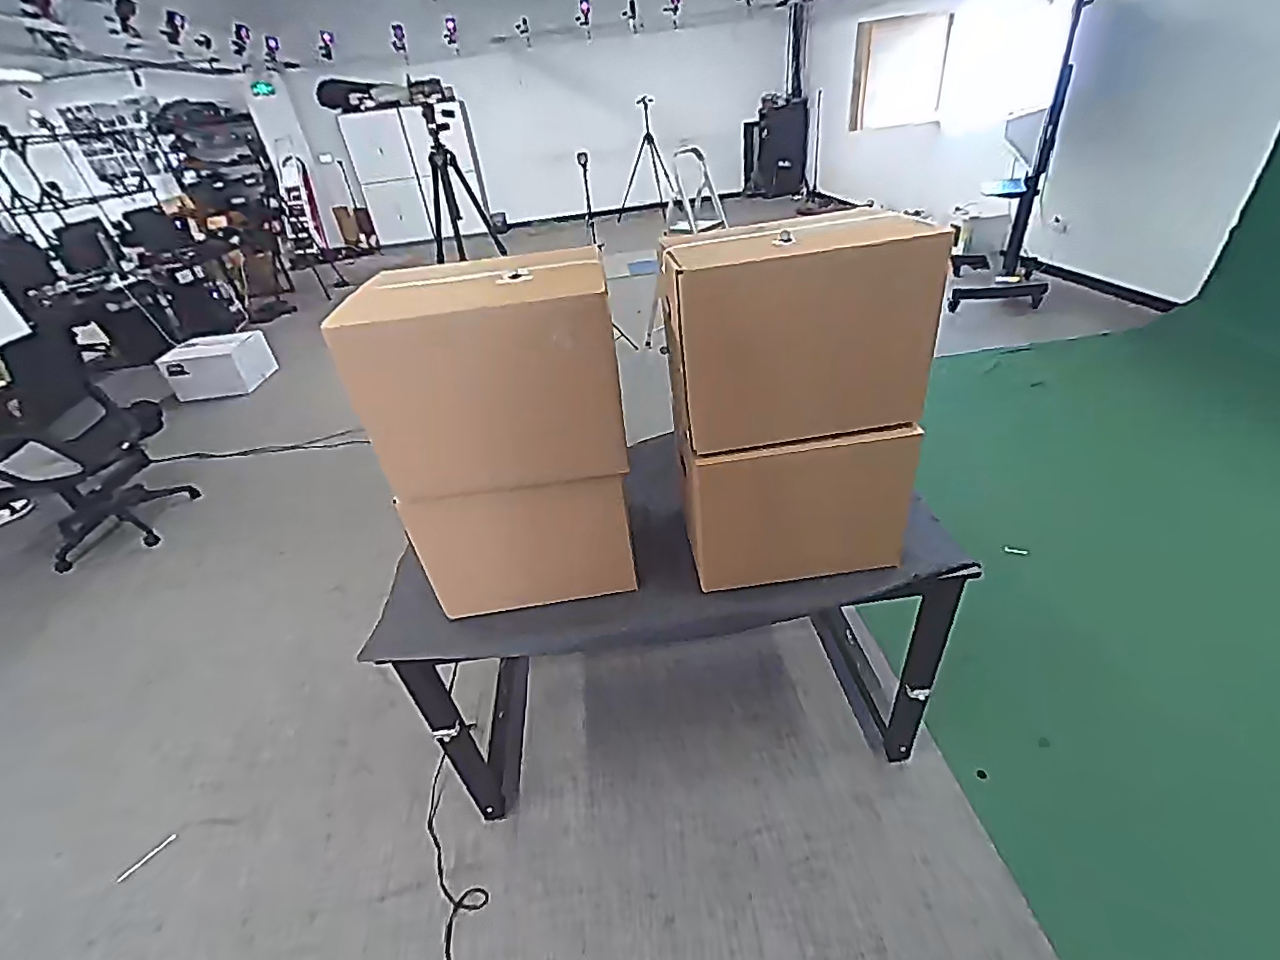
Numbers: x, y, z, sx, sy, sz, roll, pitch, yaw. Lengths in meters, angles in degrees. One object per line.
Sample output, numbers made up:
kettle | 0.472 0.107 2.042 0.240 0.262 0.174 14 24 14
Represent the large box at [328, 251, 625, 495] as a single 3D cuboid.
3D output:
large box | -0.247 -0.199 0.968 0.408 0.320 0.320 -6 36 -2
